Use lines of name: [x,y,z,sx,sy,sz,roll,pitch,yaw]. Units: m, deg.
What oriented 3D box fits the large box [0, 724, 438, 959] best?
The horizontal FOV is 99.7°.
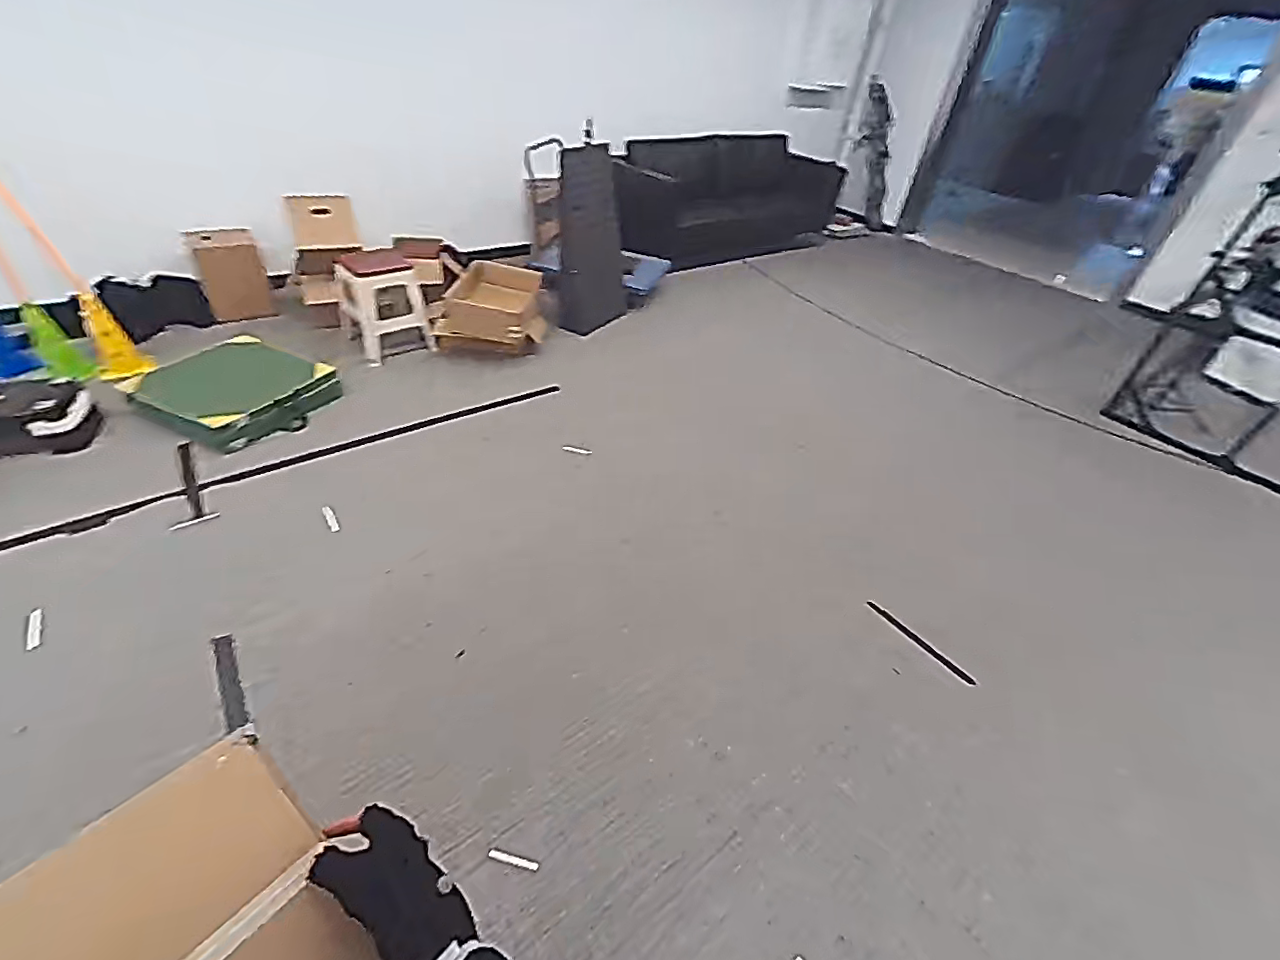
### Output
large box: [-0.431,0.521,0.459,0.320,0.320,0.408,37,42,20]
